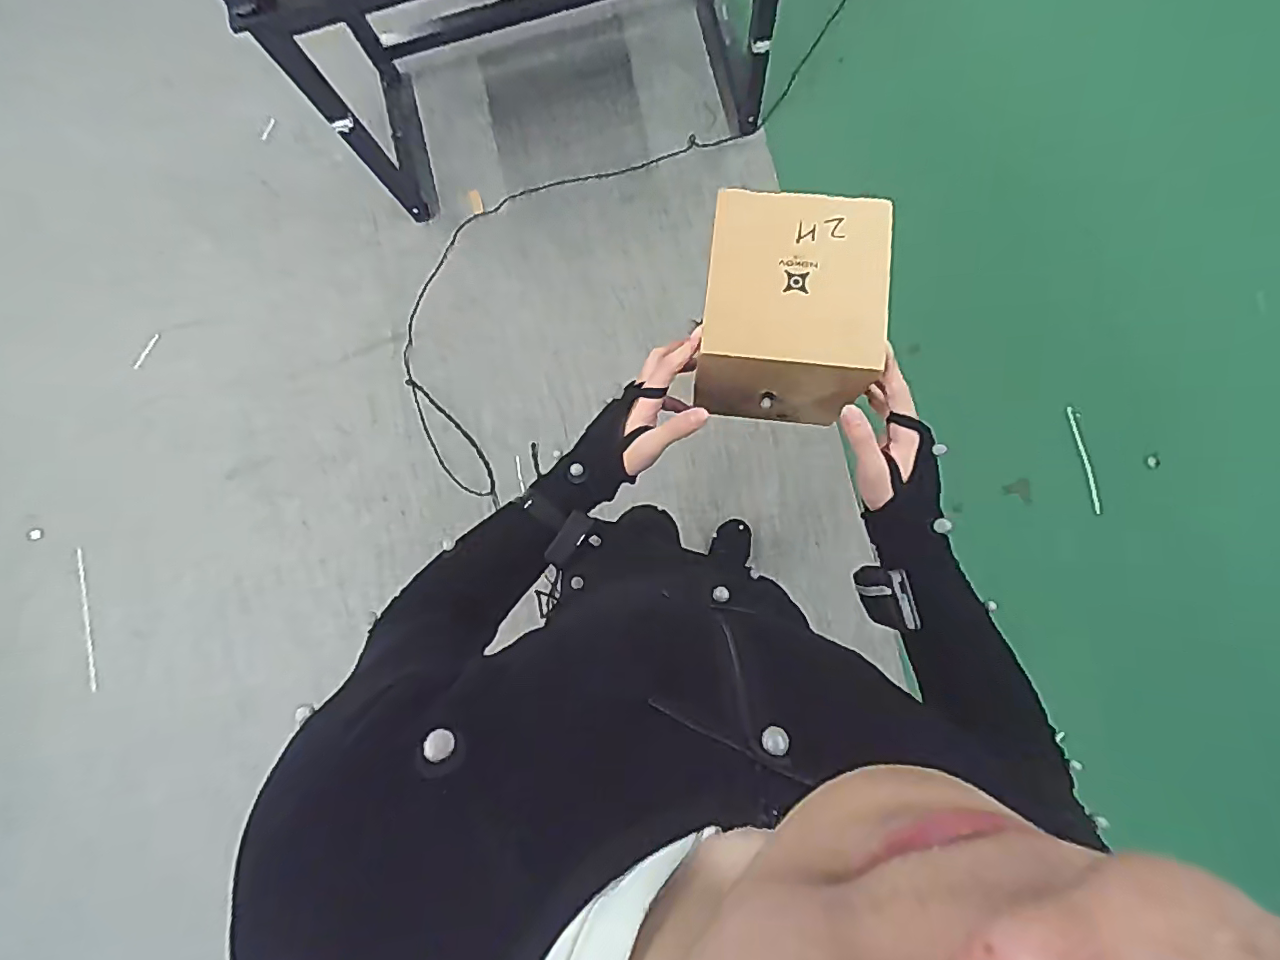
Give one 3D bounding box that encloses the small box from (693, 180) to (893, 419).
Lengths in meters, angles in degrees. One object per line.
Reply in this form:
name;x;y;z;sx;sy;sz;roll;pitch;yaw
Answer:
small box;0.147;-0.175;0.568;0.168;0.176;0.179;7;78;5
